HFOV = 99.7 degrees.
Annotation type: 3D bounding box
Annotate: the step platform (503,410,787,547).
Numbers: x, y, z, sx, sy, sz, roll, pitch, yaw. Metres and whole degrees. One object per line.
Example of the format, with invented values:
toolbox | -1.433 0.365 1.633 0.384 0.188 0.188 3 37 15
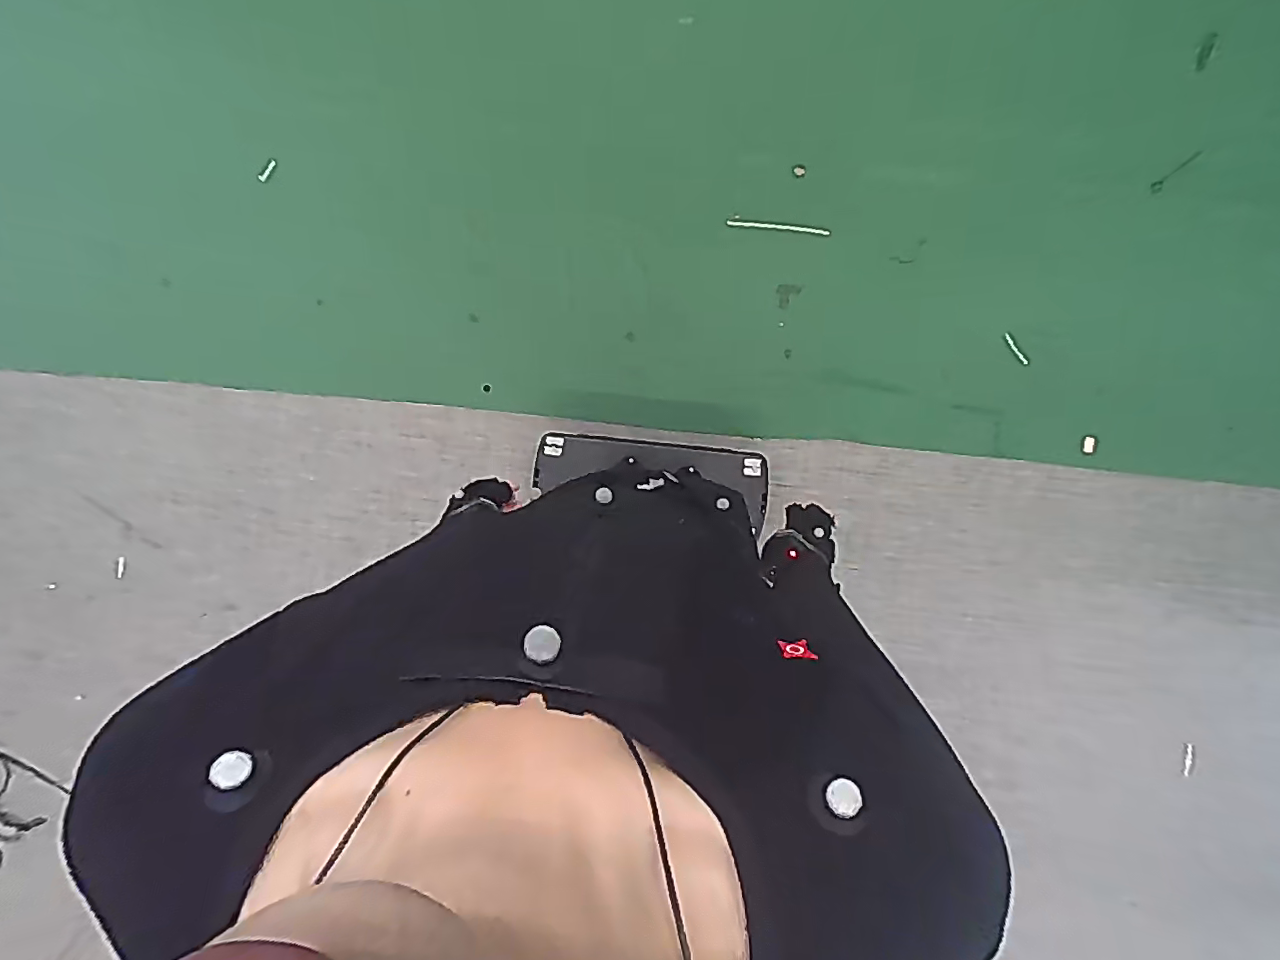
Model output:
step platform | 0.011 -0.007 1.391 0.684 0.204 0.286 5 93 2
